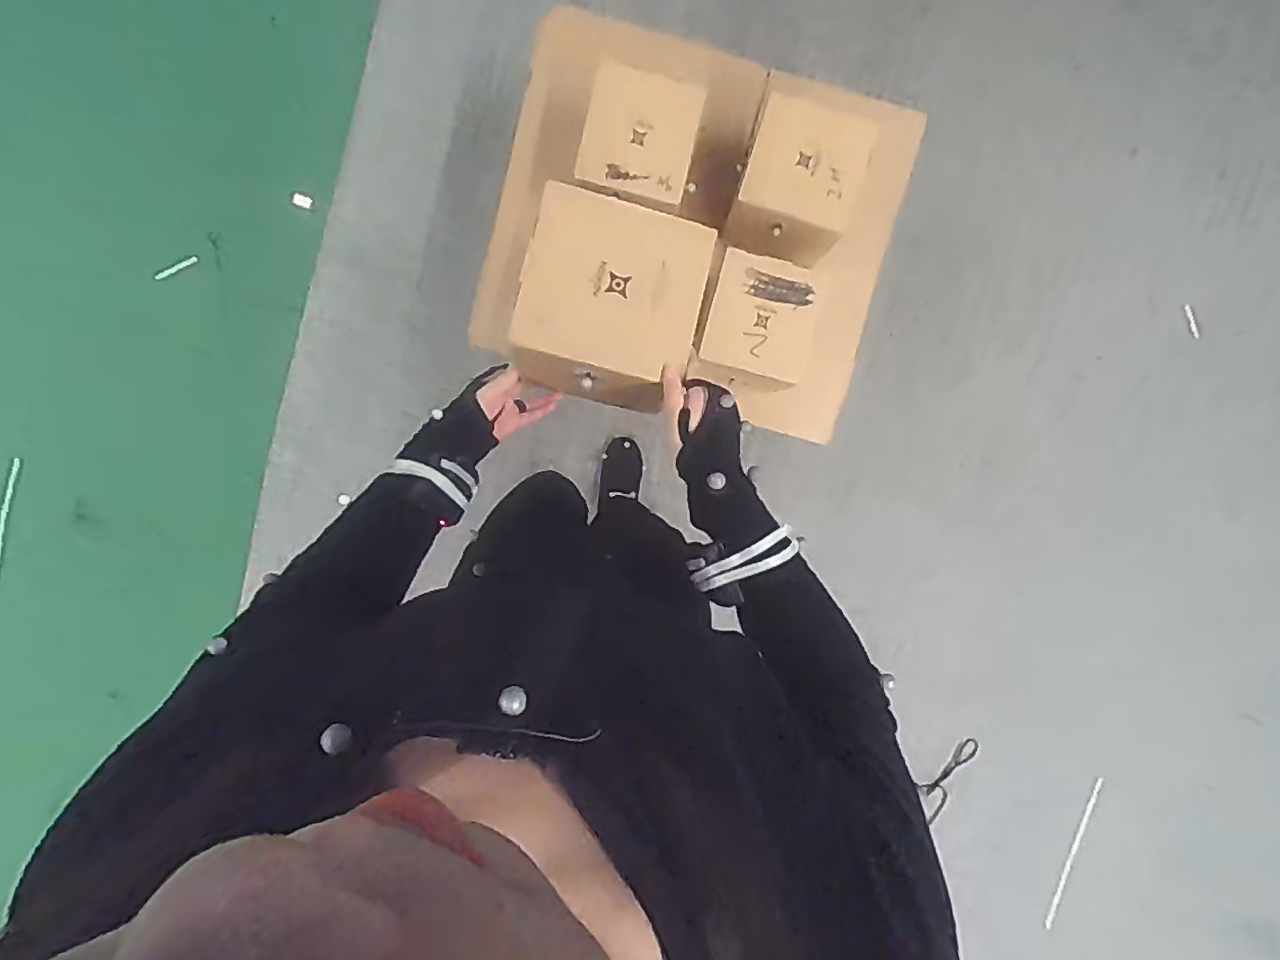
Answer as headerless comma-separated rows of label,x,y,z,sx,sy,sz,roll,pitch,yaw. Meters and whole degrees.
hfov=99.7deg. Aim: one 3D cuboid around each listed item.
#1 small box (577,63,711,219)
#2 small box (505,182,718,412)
small box,0.005,-0.513,0.877,0.168,0.176,0.179,15,93,0
small box,-0.033,-0.184,0.601,0.179,0.176,0.168,15,85,-5
